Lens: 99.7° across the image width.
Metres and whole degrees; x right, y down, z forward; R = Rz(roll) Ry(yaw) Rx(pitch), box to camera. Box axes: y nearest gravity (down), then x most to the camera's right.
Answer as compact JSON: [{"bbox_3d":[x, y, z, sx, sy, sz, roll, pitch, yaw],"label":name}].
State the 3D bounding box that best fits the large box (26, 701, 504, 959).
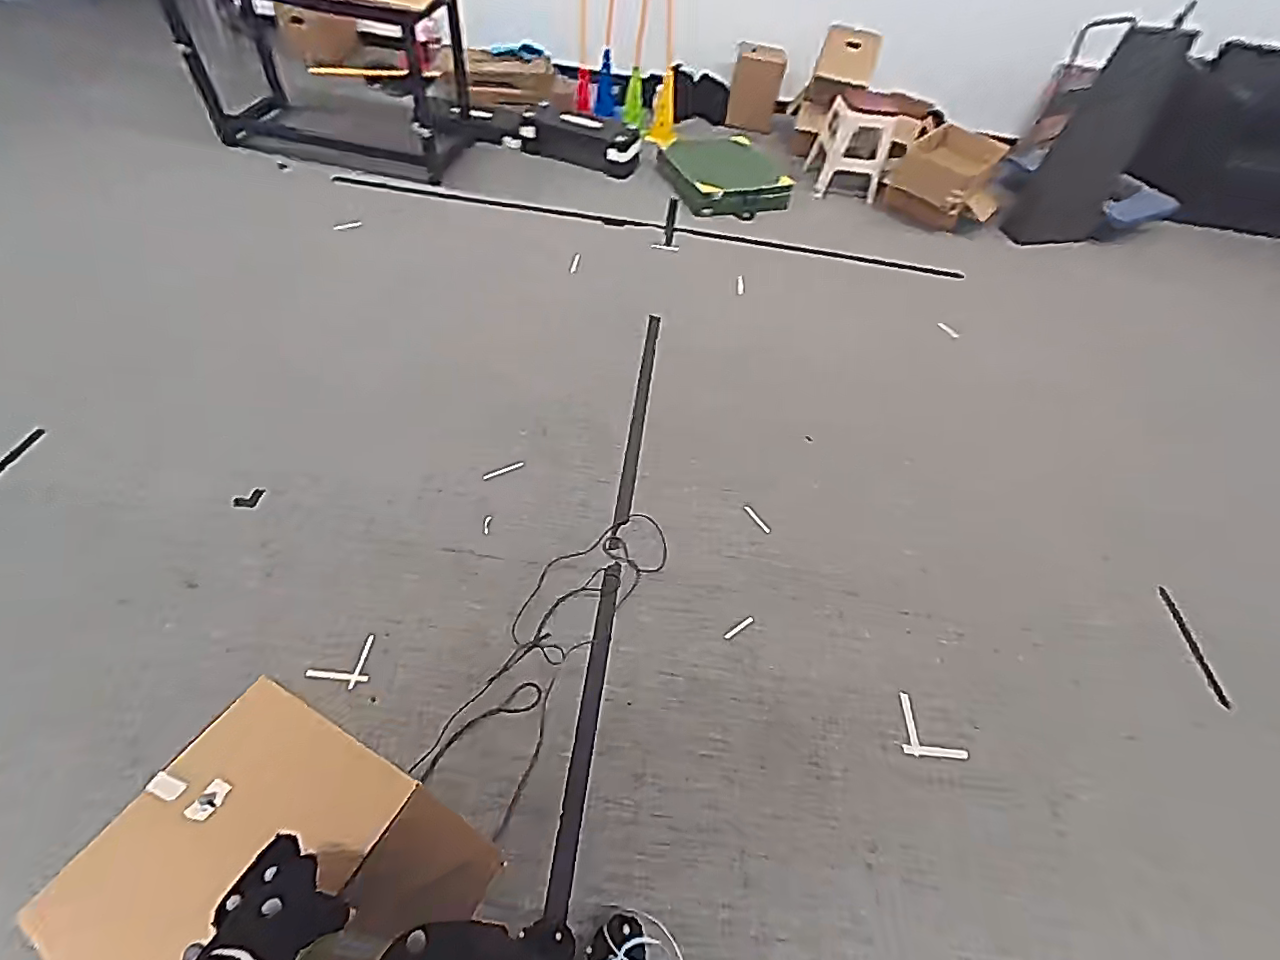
[{"bbox_3d":[-0.451,0.578,0.755,0.320,0.408,0.320,18,50,22],"label":"large box"}]
